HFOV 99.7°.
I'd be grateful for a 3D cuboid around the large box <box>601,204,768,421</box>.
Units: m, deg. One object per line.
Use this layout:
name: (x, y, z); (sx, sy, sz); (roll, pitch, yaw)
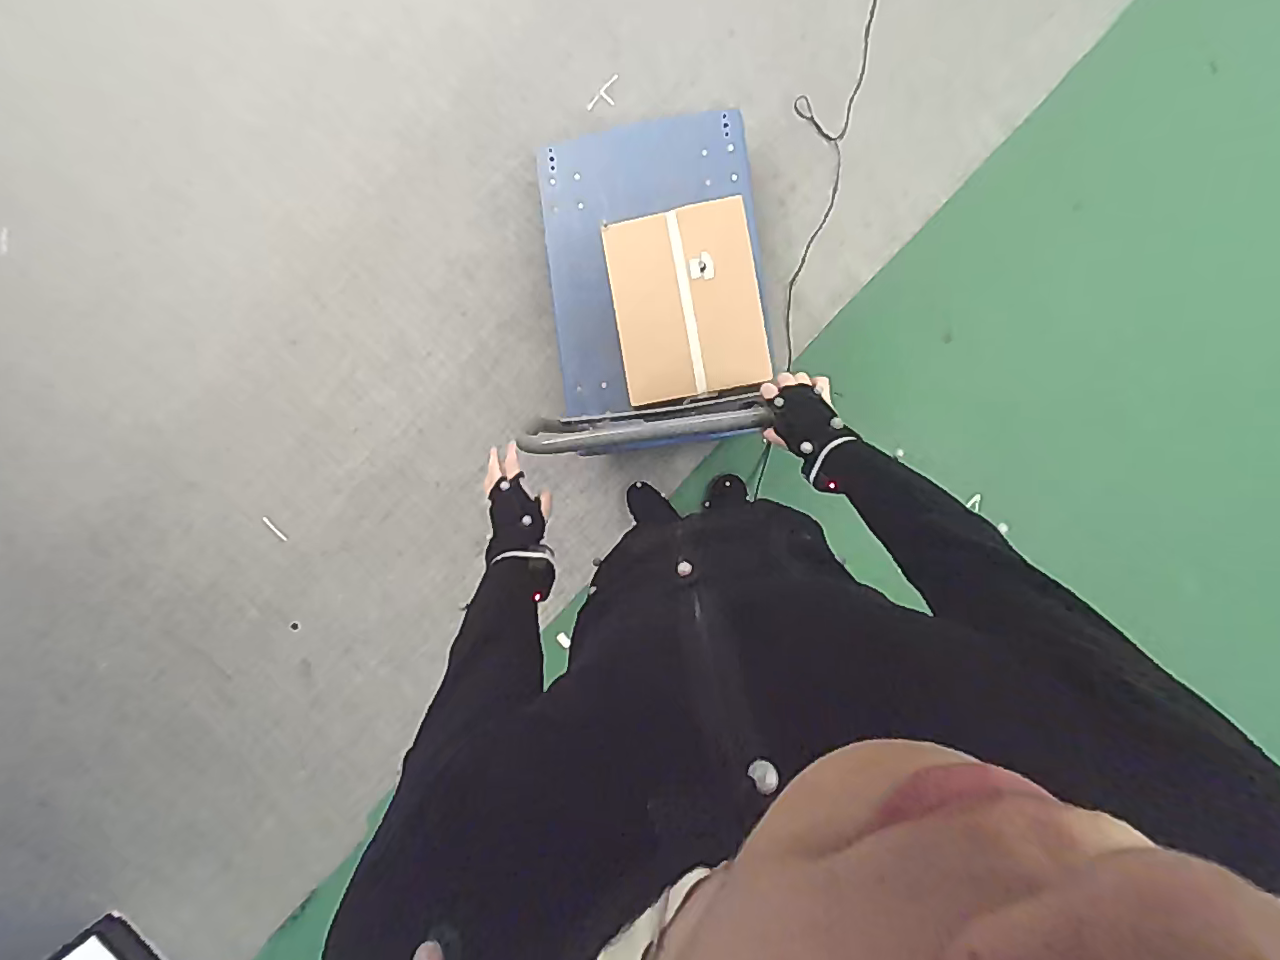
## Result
large box: (0.112, -0.383, 1.339); (0.320, 0.320, 0.408); (-10, 89, 5)
